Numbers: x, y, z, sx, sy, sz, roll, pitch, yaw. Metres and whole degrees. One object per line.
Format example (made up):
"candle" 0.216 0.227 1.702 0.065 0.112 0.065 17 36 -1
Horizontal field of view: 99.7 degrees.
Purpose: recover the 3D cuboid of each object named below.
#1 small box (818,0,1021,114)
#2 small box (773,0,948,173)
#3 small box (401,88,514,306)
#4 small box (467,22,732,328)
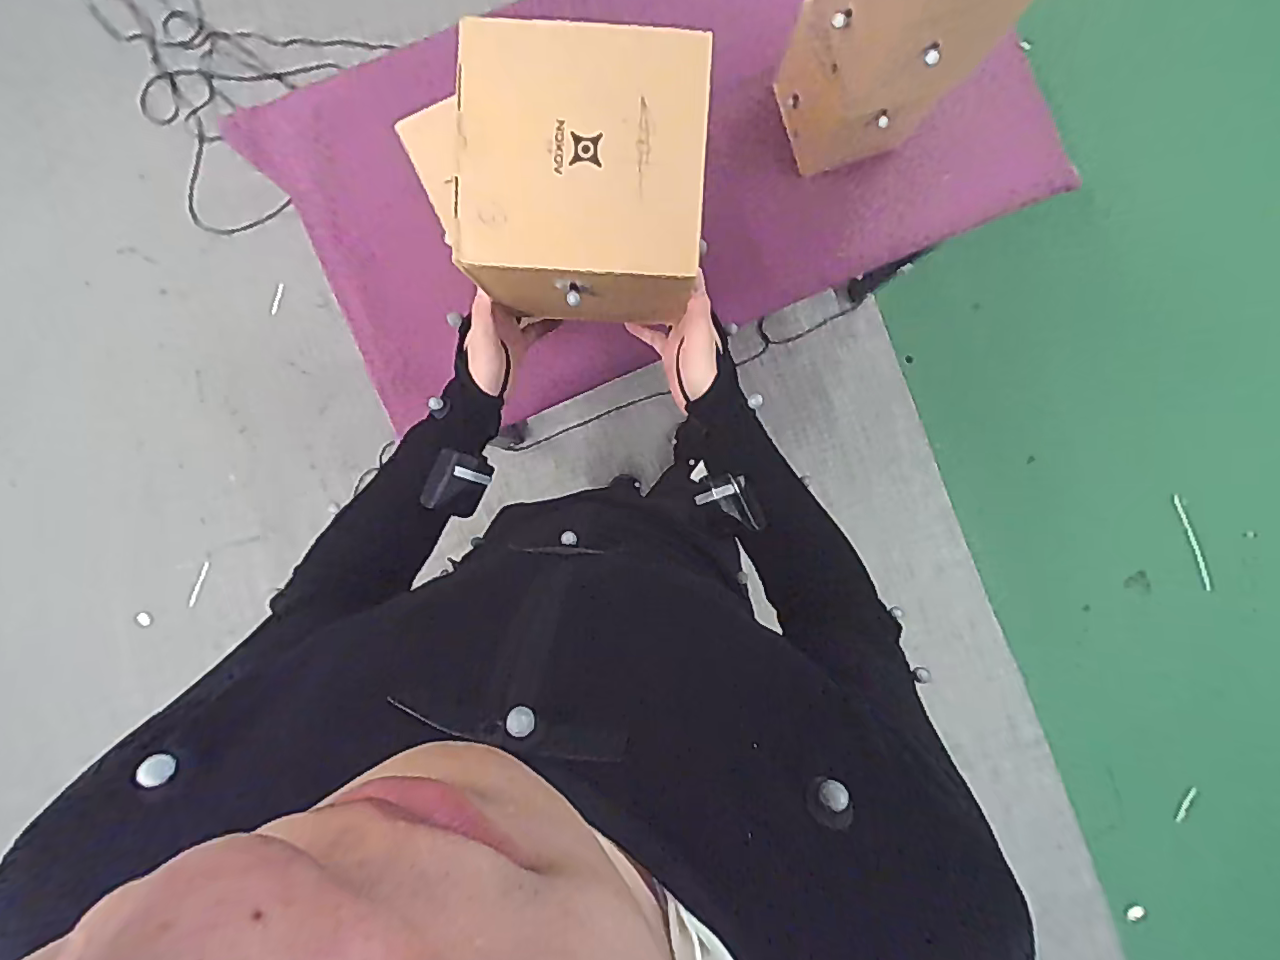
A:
"small box" 0.338 -0.598 0.666 0.179 0.176 0.168 -18 92 0
"small box" 0.328 -0.613 0.830 0.179 0.176 0.168 -18 92 -1
"small box" -0.145 -0.338 0.652 0.179 0.176 0.168 -26 92 -1
"small box" -0.030 -0.231 0.455 0.179 0.176 0.168 4 95 -1
